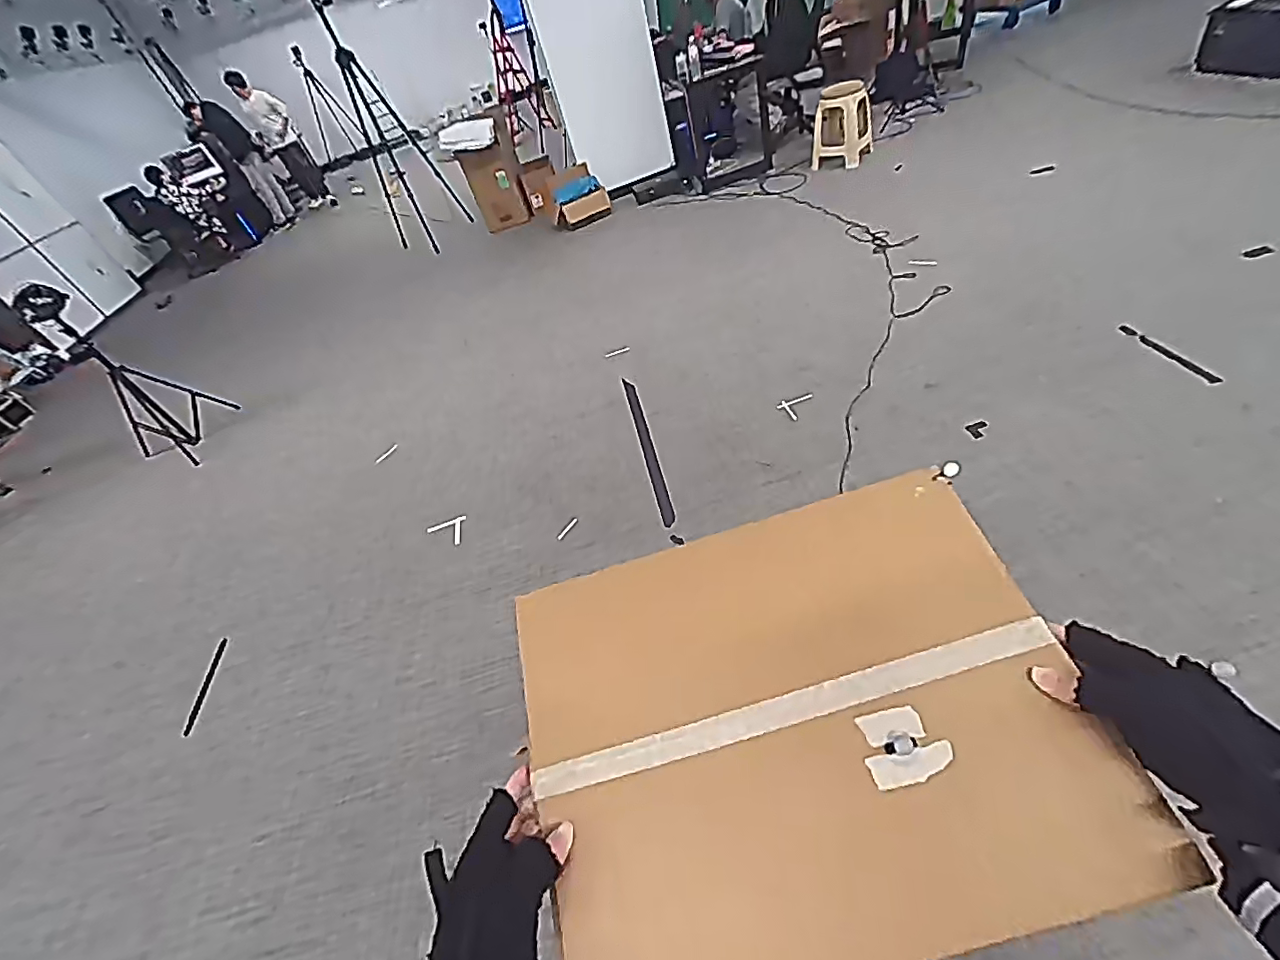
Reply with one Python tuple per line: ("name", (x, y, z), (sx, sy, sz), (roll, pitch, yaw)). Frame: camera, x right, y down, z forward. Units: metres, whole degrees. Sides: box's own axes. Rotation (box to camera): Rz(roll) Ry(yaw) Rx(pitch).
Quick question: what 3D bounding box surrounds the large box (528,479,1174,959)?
("large box", (0.145, 0.259, 0.552), (0.408, 0.320, 0.320), (-18, 57, 2))
